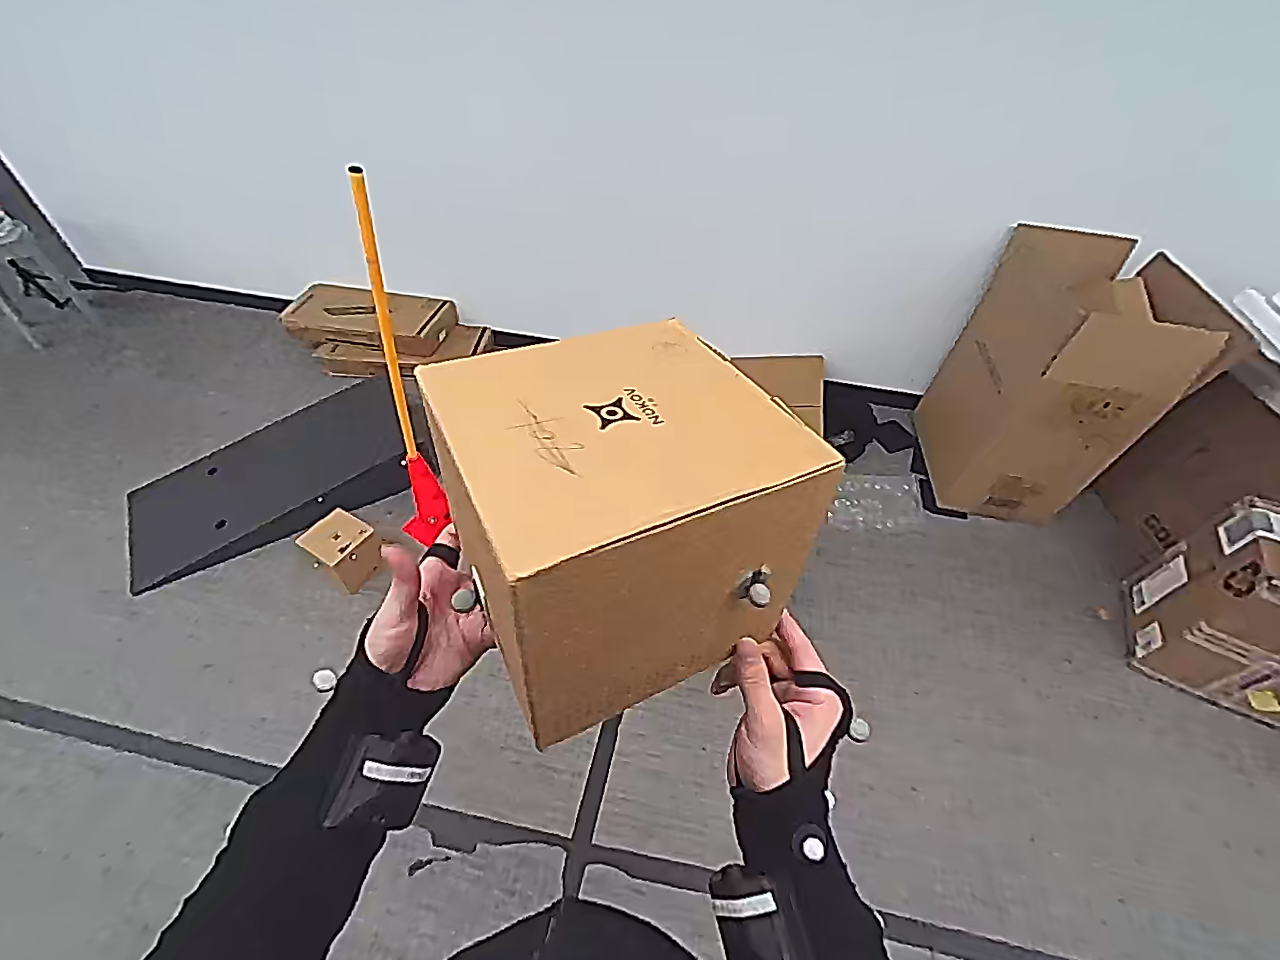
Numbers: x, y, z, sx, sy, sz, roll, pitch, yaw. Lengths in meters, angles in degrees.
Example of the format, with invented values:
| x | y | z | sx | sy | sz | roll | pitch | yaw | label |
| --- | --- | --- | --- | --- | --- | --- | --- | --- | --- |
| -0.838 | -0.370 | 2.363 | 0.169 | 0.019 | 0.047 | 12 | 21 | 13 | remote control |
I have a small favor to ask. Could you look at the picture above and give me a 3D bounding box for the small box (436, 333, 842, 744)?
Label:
| x | y | z | sx | sy | sz | roll | pitch | yaw | label |
| --- | --- | --- | --- | --- | --- | --- | --- | --- | --- |
| -0.012 | 0.031 | 0.351 | 0.179 | 0.176 | 0.168 | -19 | 47 | -24 | small box |
